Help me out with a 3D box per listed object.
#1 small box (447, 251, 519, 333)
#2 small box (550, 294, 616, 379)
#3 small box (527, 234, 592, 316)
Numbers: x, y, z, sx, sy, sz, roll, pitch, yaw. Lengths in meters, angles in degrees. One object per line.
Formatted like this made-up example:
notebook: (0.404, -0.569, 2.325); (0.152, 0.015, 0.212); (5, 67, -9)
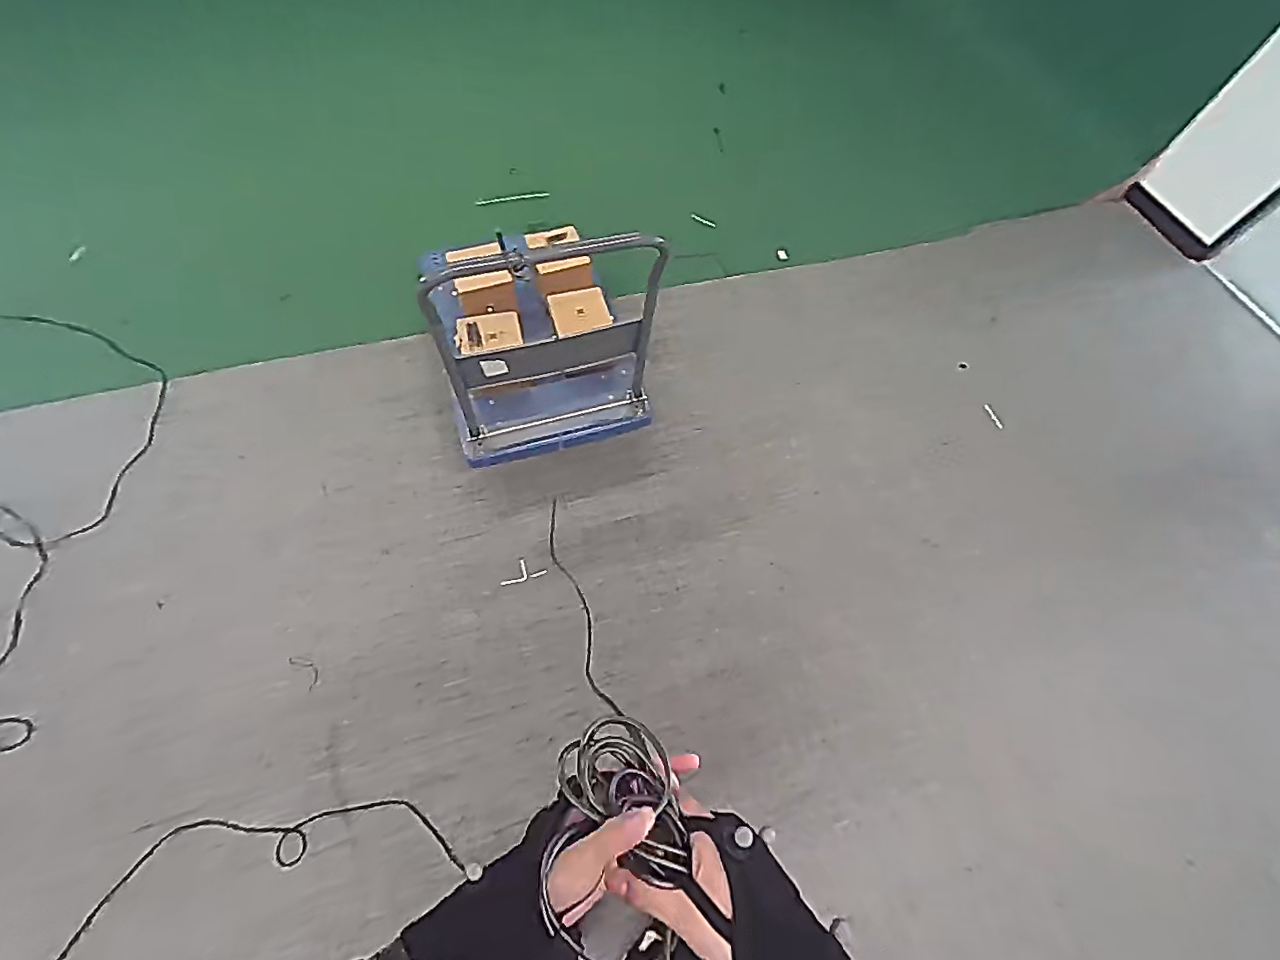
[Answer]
small box: (-0.495, -0.592, 1.726); (0.168, 0.176, 0.179); (-18, 66, -14)
small box: (-0.178, -0.441, 1.672); (0.168, 0.176, 0.179); (-14, 66, -11)
small box: (-0.264, -0.672, 1.783); (0.168, 0.176, 0.179); (-19, 67, -12)
